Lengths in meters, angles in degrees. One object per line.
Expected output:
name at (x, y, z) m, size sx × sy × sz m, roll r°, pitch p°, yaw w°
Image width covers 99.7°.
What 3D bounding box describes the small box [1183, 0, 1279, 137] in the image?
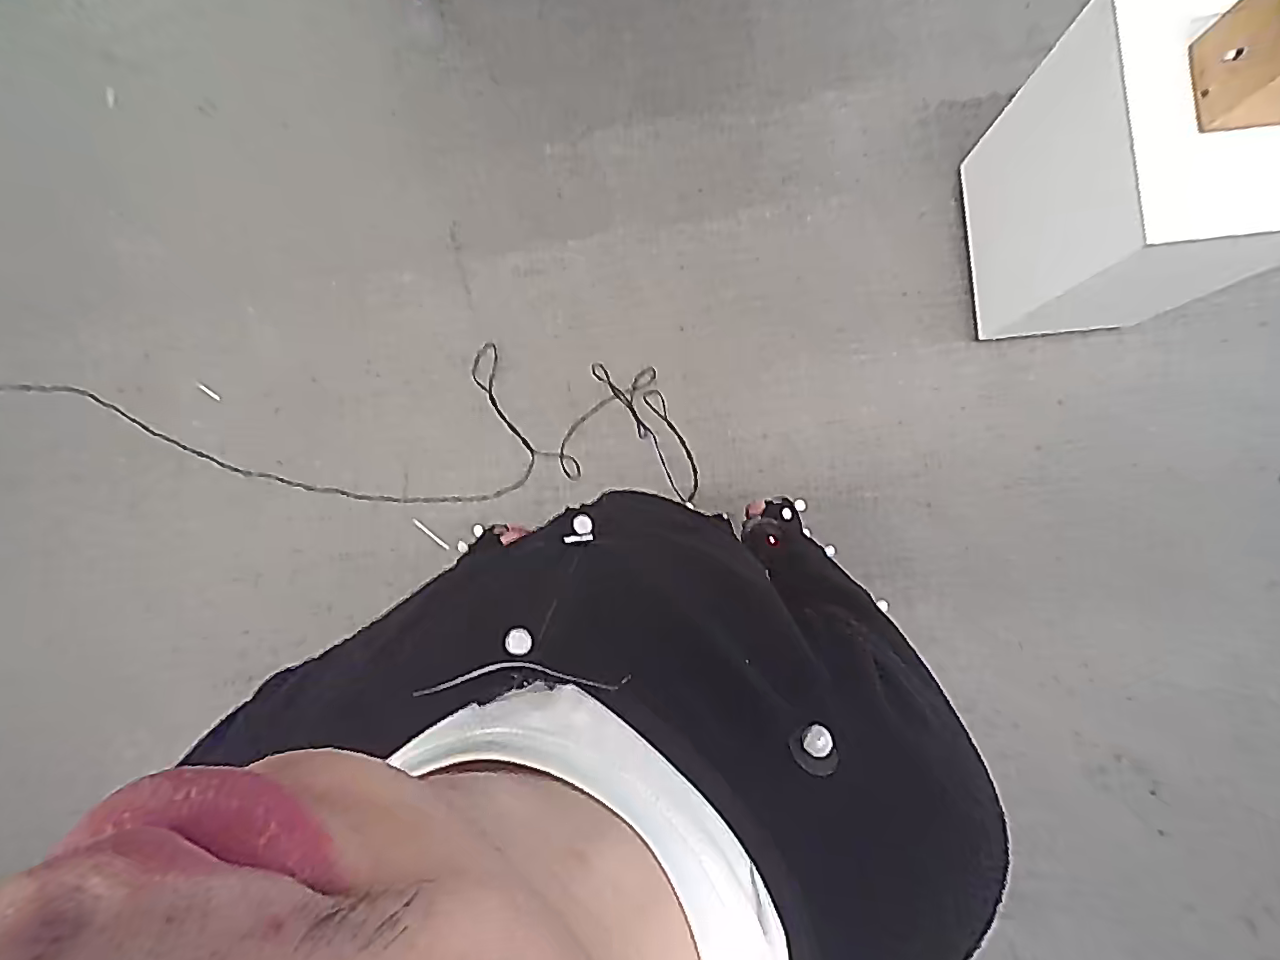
small box at (1.048, -0.697, 0.881) m, size 0.179 × 0.176 × 0.168 m, roll -7°, pitch 86°, yaw 3°
